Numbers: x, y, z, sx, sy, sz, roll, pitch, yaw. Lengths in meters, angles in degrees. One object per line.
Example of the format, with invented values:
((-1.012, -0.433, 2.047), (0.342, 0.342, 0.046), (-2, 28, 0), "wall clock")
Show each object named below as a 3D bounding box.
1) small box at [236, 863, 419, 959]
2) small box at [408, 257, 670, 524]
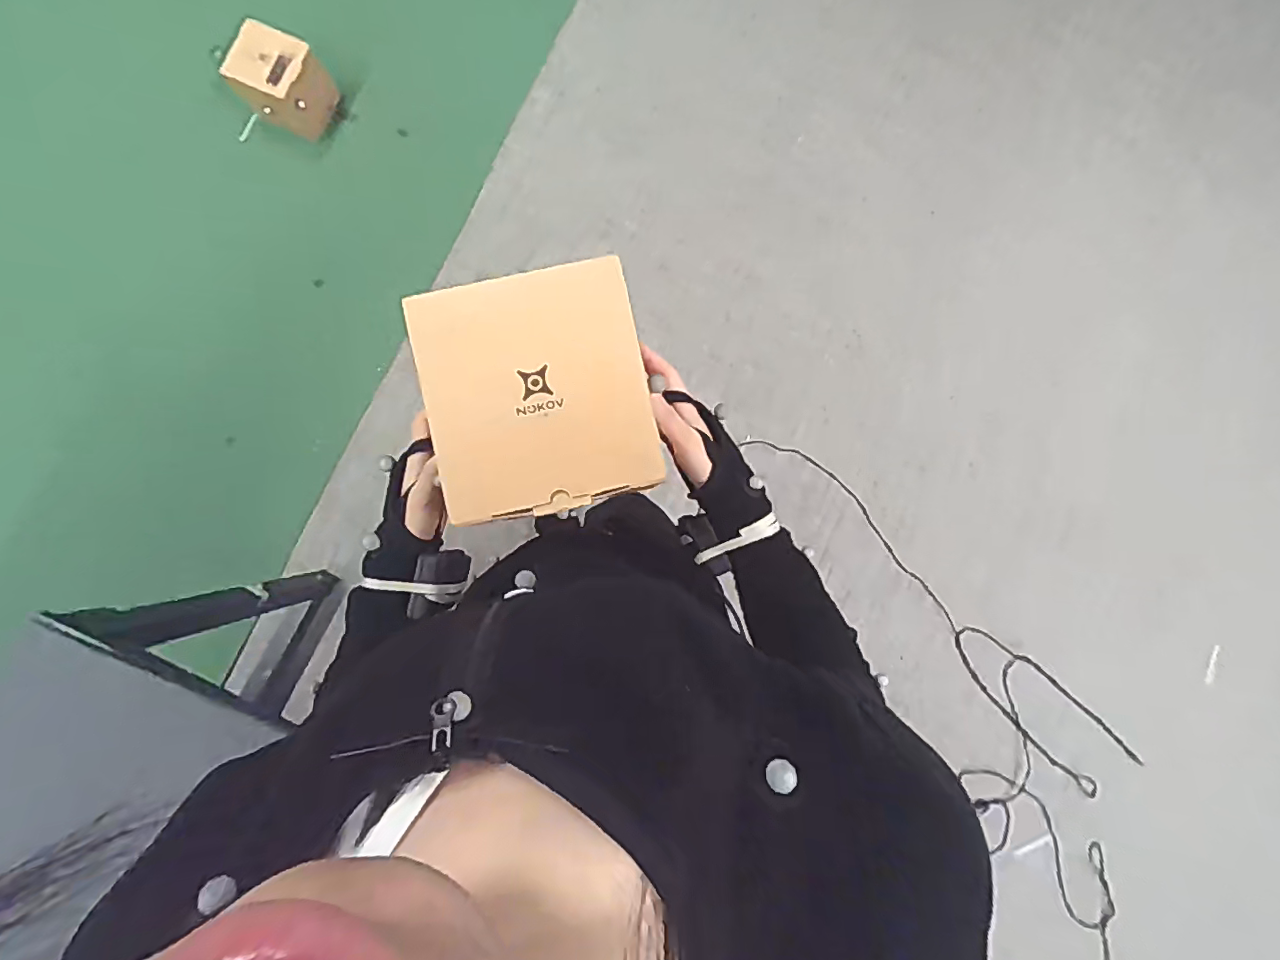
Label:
((-0.392, 0.616, 0.641), (0.168, 0.176, 0.179), (26, 86, -3), "small box")
((-0.079, -0.065, 0.478), (0.168, 0.176, 0.179), (-13, 90, -3), "small box")
